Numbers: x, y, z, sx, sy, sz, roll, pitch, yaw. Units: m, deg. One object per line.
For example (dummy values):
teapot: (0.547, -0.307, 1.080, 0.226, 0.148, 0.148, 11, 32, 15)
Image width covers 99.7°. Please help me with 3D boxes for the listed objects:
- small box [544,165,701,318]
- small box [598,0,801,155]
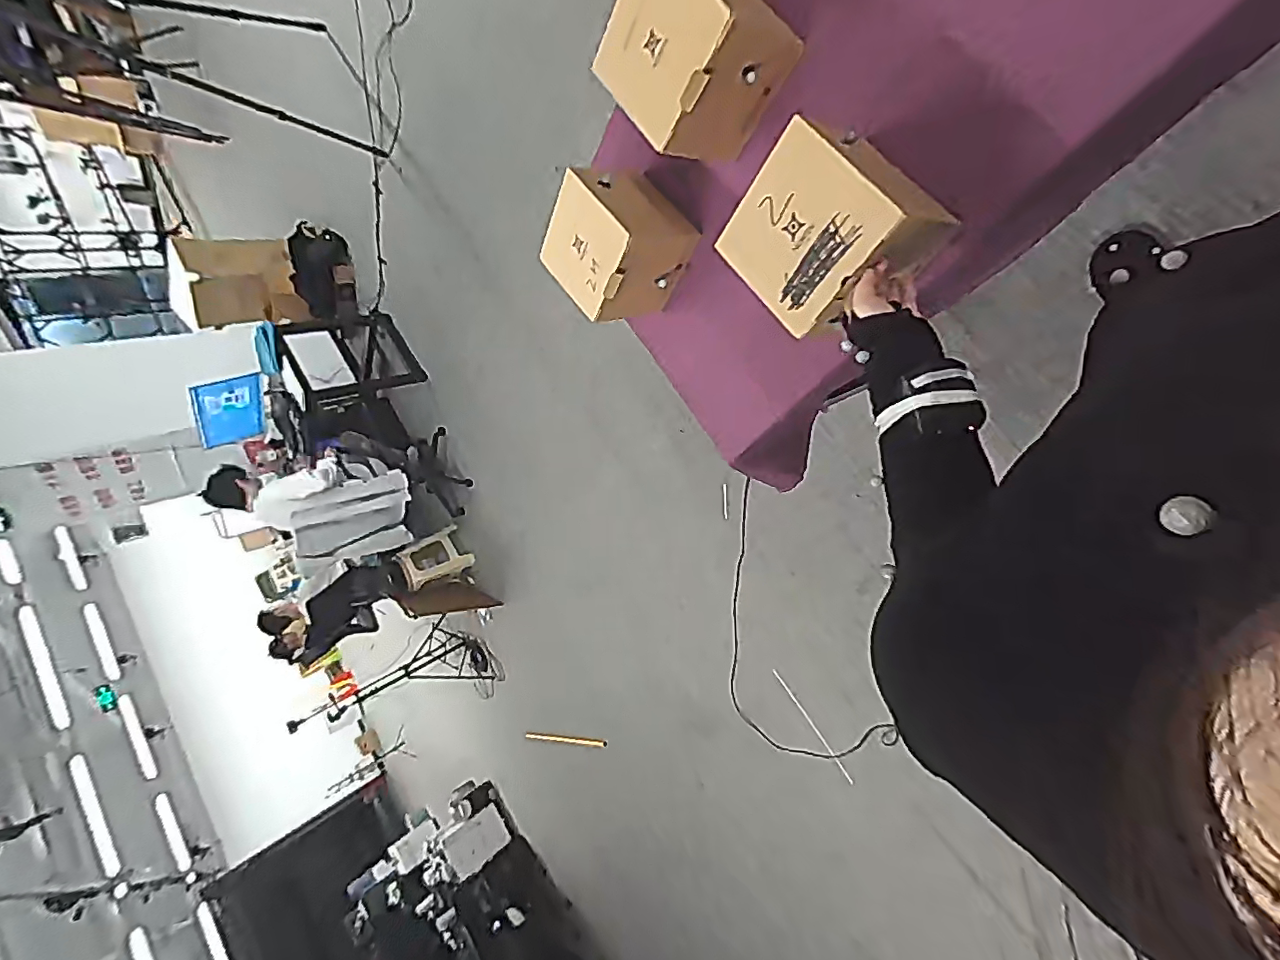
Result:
small box: (-0.031, -0.404, 0.929, 0.179, 0.176, 0.168, 53, 138, 16)
small box: (0.081, -0.570, 0.729, 0.179, 0.176, 0.168, 57, 138, 12)
